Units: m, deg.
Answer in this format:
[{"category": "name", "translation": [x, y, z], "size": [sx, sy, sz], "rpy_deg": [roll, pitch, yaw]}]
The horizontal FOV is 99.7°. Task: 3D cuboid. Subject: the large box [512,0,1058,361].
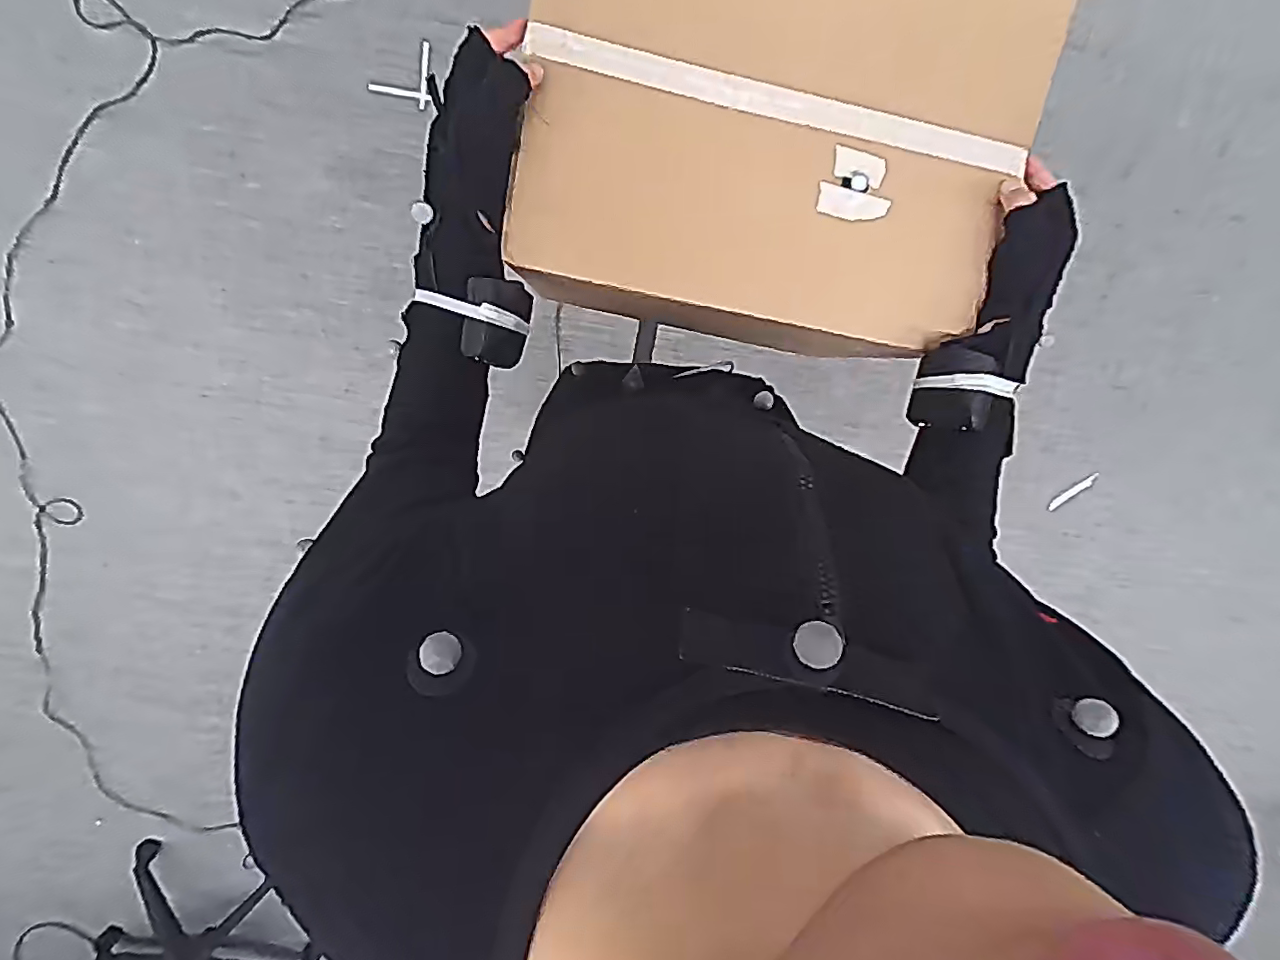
[{"category": "large box", "translation": [0.100, -0.317, 0.578], "size": [0.408, 0.320, 0.320], "rpy_deg": [10, 103, -7]}]
